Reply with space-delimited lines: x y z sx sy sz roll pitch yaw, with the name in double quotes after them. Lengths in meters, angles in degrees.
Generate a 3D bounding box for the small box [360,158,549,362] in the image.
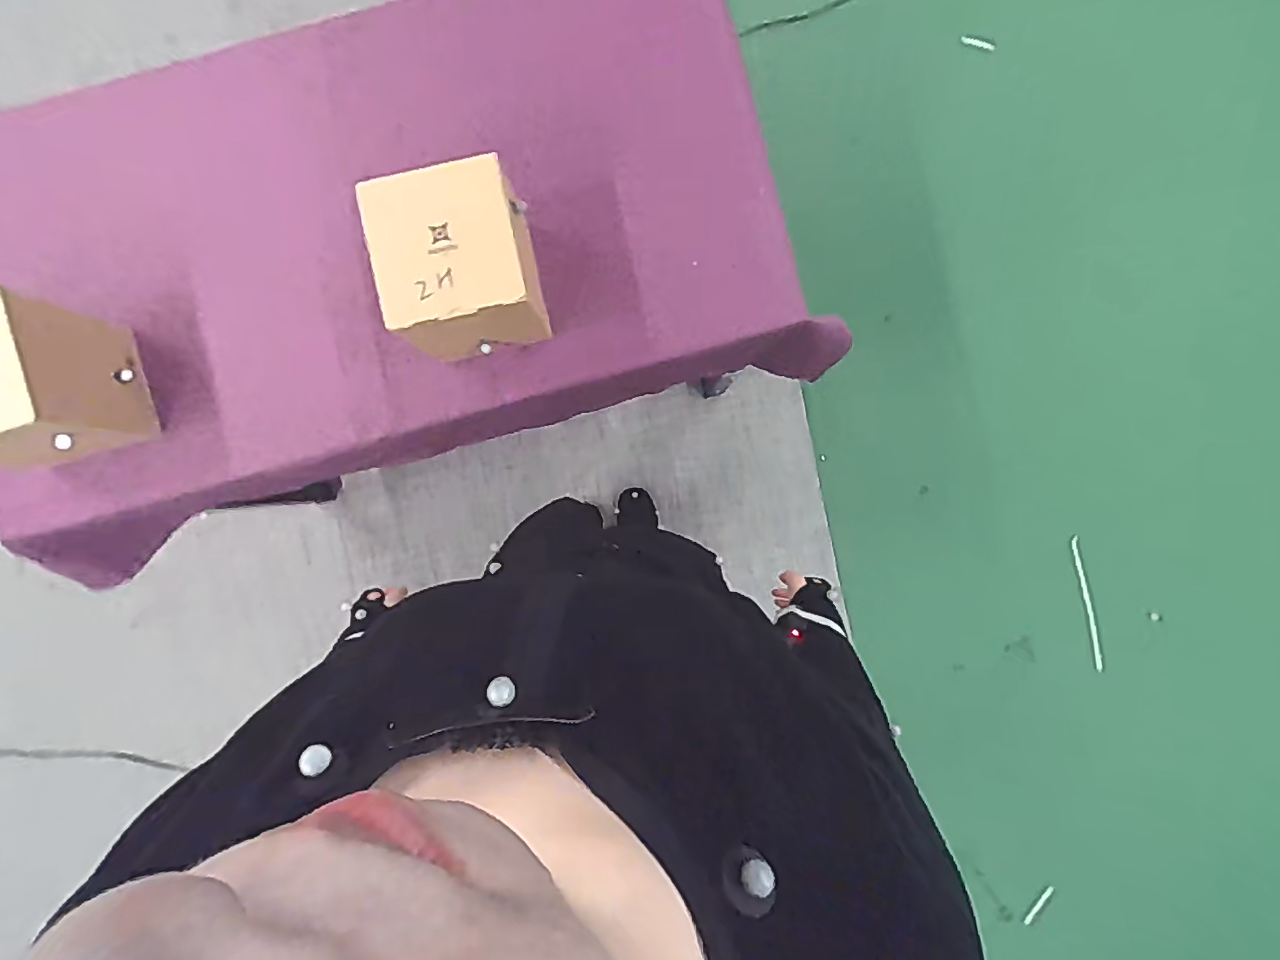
-0.224 -0.267 0.694 0.168 0.176 0.179 -12 90 1 "small box"
